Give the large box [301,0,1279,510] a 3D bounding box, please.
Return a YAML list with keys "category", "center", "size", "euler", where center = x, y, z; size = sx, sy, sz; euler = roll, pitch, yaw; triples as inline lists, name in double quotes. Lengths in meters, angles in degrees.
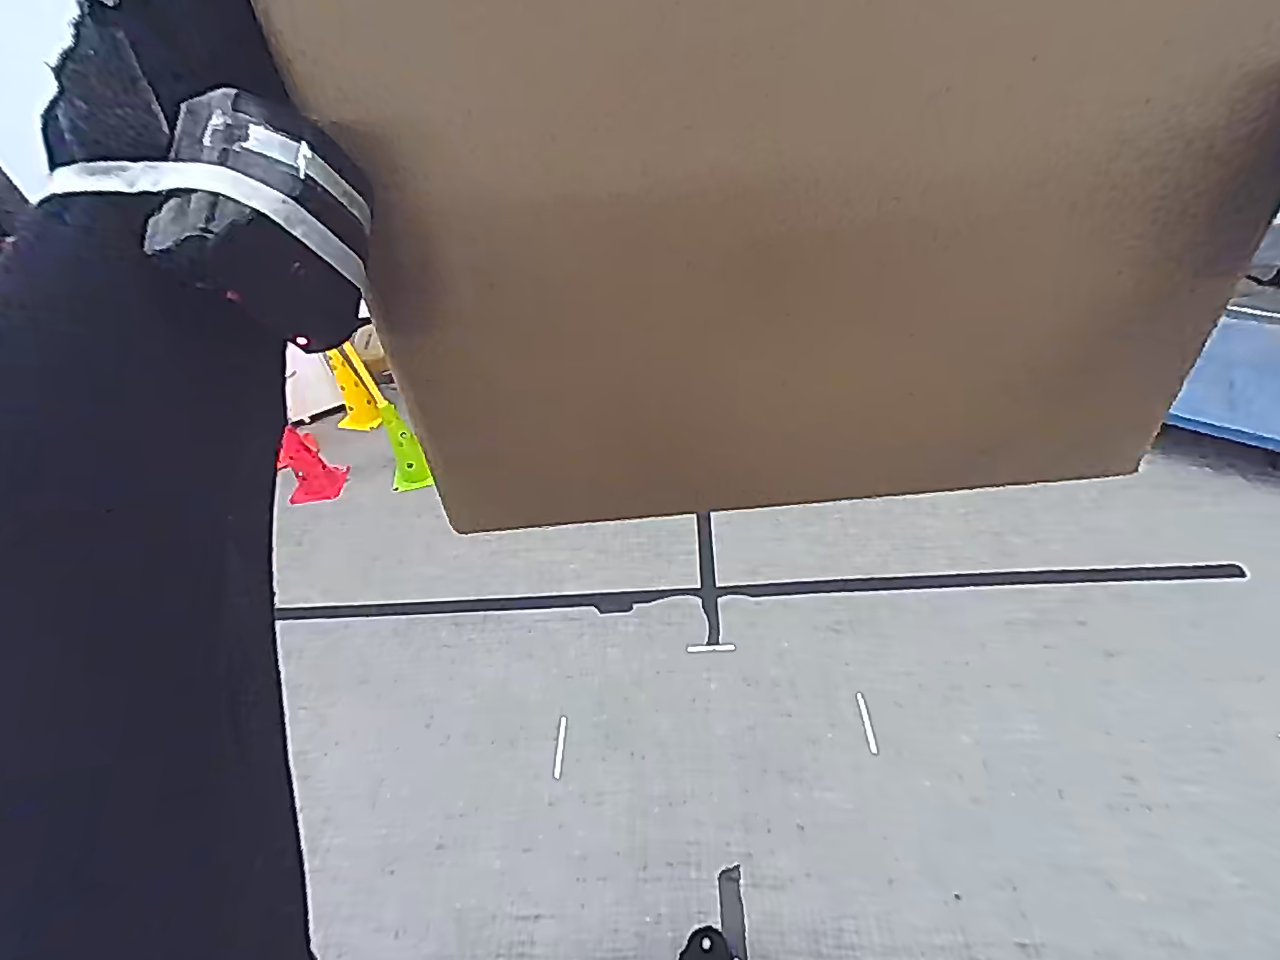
- category: "large box"
  center: [0.067, -0.203, 0.368]
  size: [0.408, 0.320, 0.320]
  euler: [-5, 36, 0]
